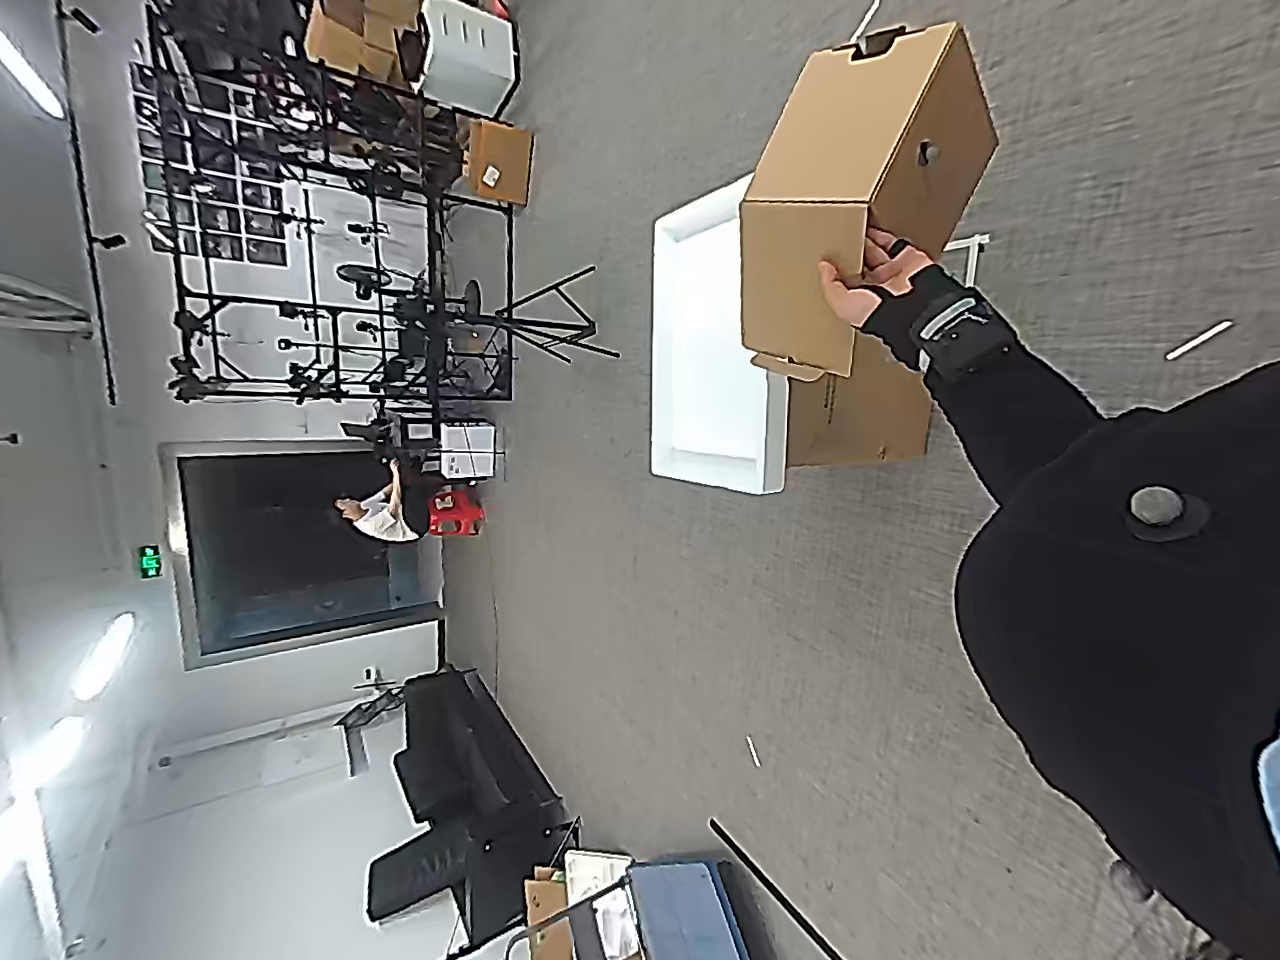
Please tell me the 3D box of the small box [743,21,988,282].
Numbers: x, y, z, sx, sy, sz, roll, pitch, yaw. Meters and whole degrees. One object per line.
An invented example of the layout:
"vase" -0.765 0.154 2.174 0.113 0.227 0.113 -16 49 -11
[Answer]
"small box" 0.255 -0.346 0.606 0.168 0.176 0.179 33 99 45
